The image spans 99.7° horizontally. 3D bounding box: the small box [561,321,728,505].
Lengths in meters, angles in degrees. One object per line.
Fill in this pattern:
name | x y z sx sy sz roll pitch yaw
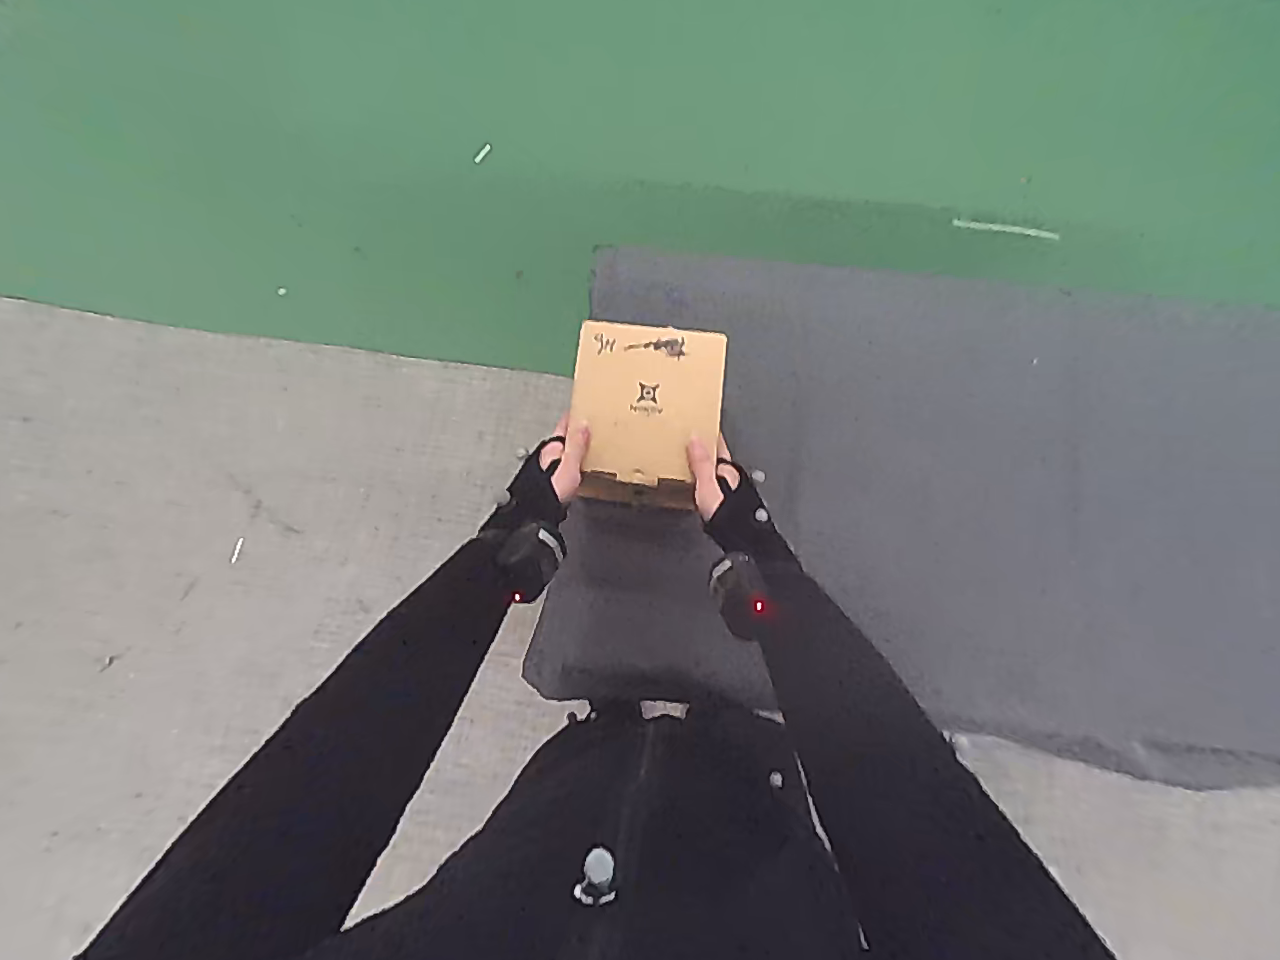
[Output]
small box | 0.007 -0.069 0.662 0.168 0.176 0.179 7 80 0
